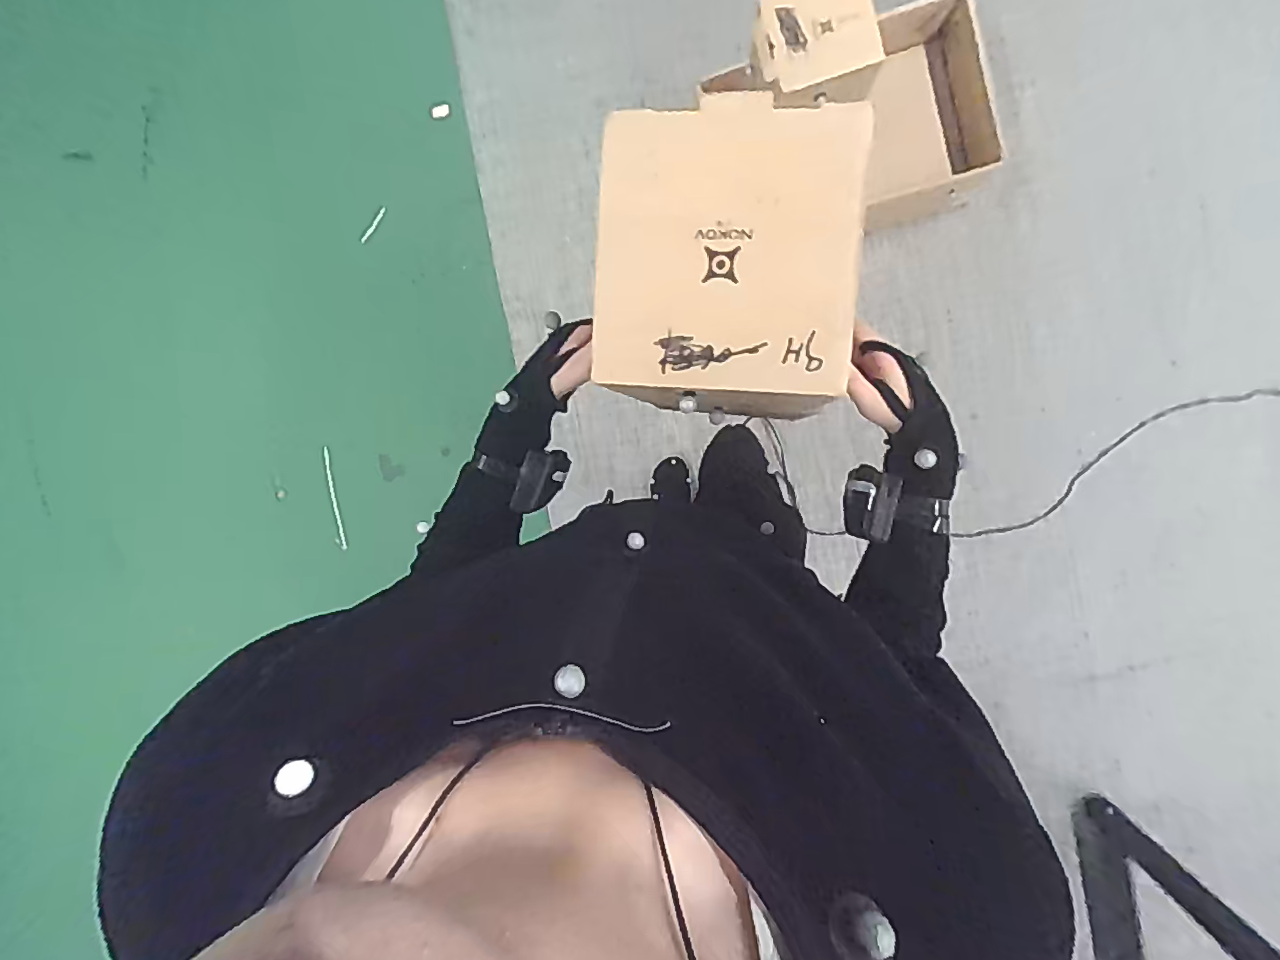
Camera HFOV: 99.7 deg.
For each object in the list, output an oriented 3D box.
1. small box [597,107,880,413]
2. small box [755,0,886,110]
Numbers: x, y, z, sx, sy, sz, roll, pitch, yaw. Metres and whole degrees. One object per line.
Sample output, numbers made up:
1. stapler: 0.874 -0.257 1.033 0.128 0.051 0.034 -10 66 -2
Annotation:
1. small box: 0.074 -0.151 0.424 0.168 0.176 0.179 6 94 12
2. small box: 0.310 -0.754 0.968 0.179 0.176 0.168 -15 93 8
